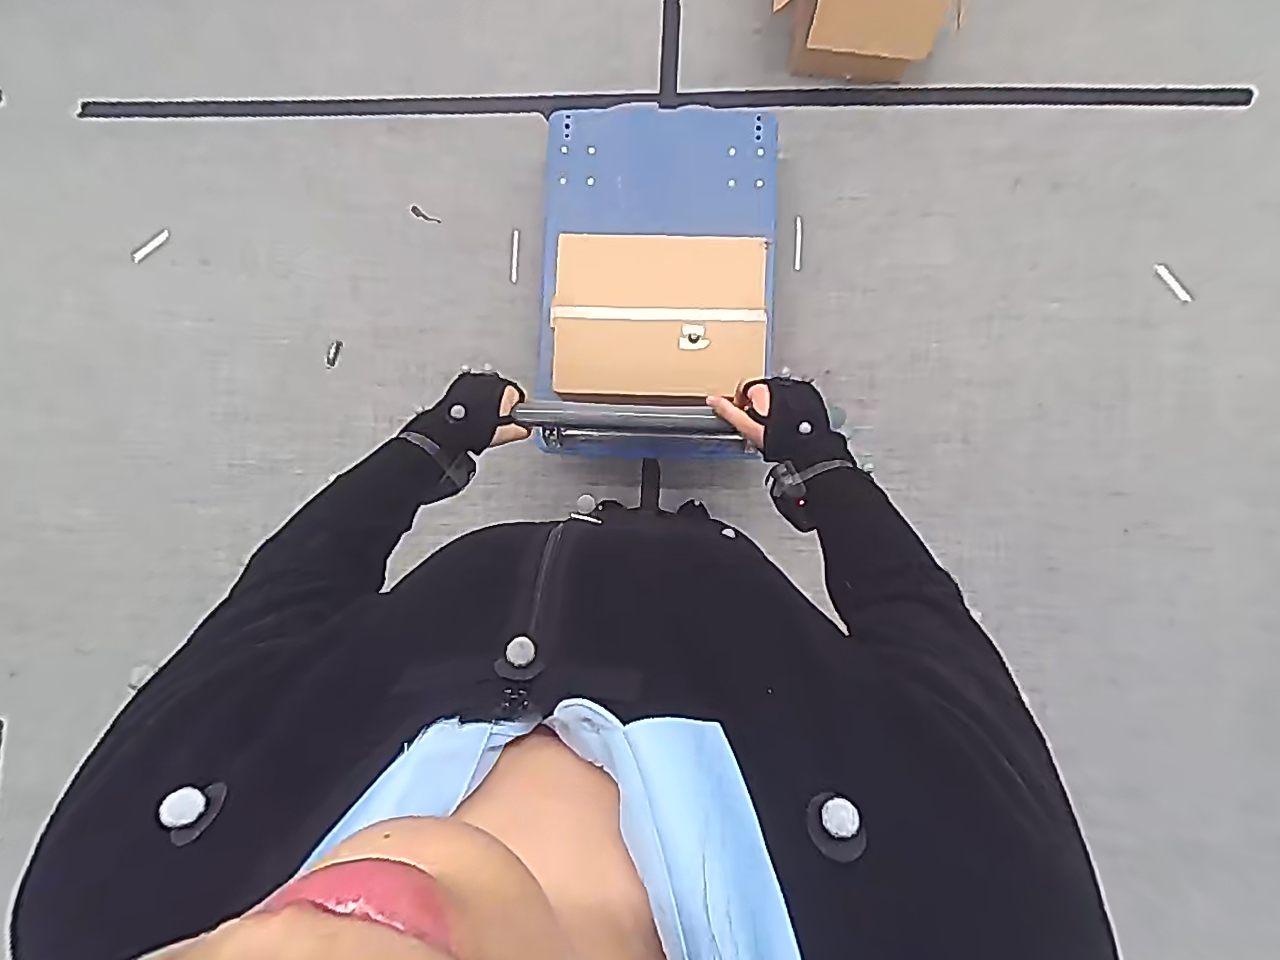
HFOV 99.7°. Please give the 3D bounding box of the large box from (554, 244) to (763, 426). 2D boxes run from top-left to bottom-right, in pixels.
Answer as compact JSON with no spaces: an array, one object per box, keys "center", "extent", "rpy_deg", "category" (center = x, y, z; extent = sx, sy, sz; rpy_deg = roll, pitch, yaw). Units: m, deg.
[{"center":[0.035,-0.294,1.186],"extent":[0.408,0.320,0.320],"rpy_deg":[2,88,1],"category":"large box"}]
